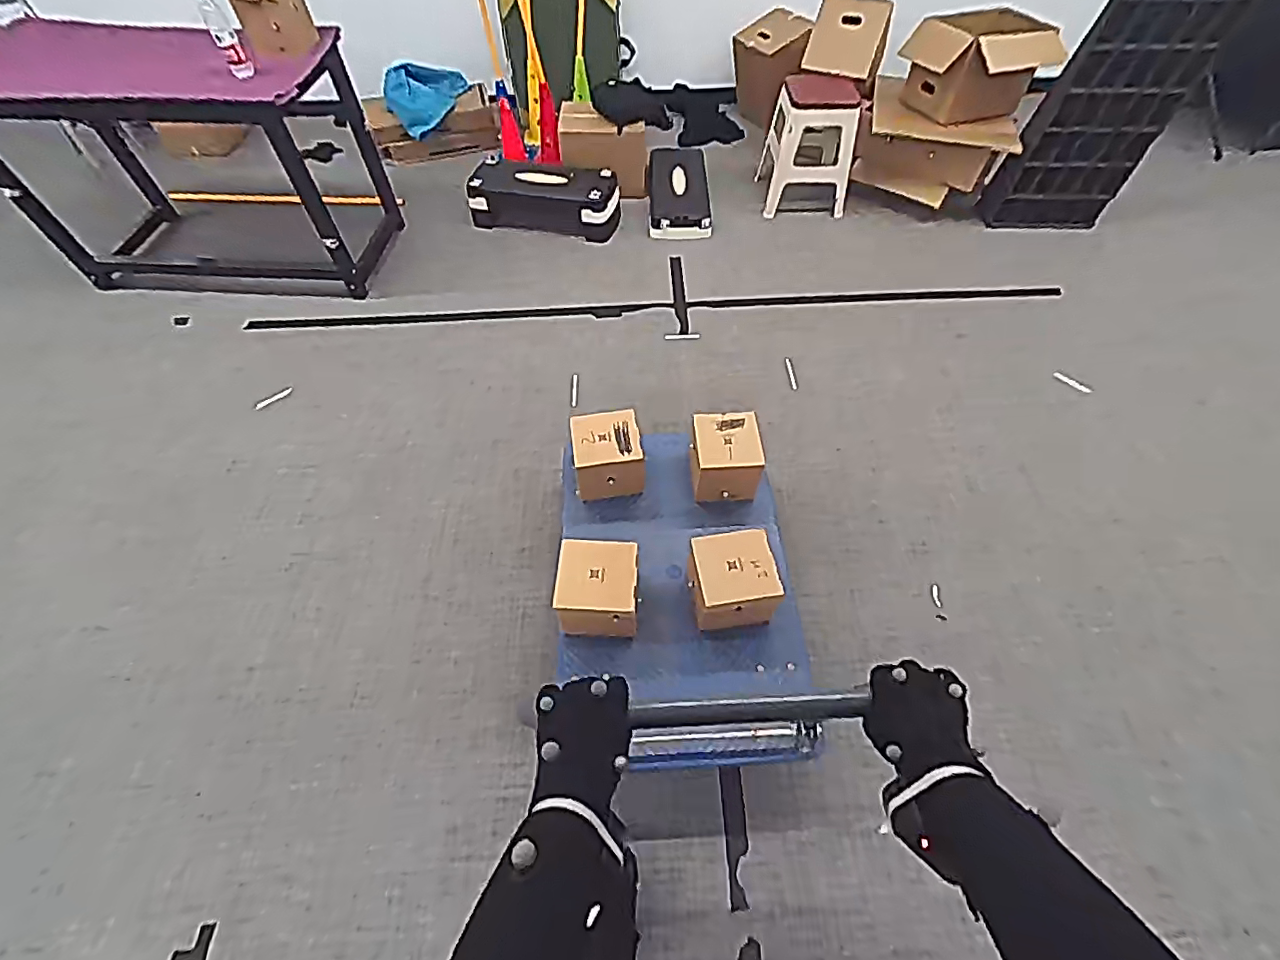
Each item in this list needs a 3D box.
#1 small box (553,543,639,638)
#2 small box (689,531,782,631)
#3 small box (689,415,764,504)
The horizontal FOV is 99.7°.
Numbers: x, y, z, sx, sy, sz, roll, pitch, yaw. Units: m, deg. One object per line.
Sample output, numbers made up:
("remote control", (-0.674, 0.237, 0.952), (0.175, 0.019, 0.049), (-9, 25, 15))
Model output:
("small box", (-0.095, 0.259, 1.252), (0.179, 0.176, 0.168), (3, 56, 1))
("small box", (0.212, 0.240, 1.259), (0.179, 0.176, 0.168), (-8, 57, -4))
("small box", (0.225, -0.054, 1.454), (0.168, 0.176, 0.179), (-3, 58, -1))
